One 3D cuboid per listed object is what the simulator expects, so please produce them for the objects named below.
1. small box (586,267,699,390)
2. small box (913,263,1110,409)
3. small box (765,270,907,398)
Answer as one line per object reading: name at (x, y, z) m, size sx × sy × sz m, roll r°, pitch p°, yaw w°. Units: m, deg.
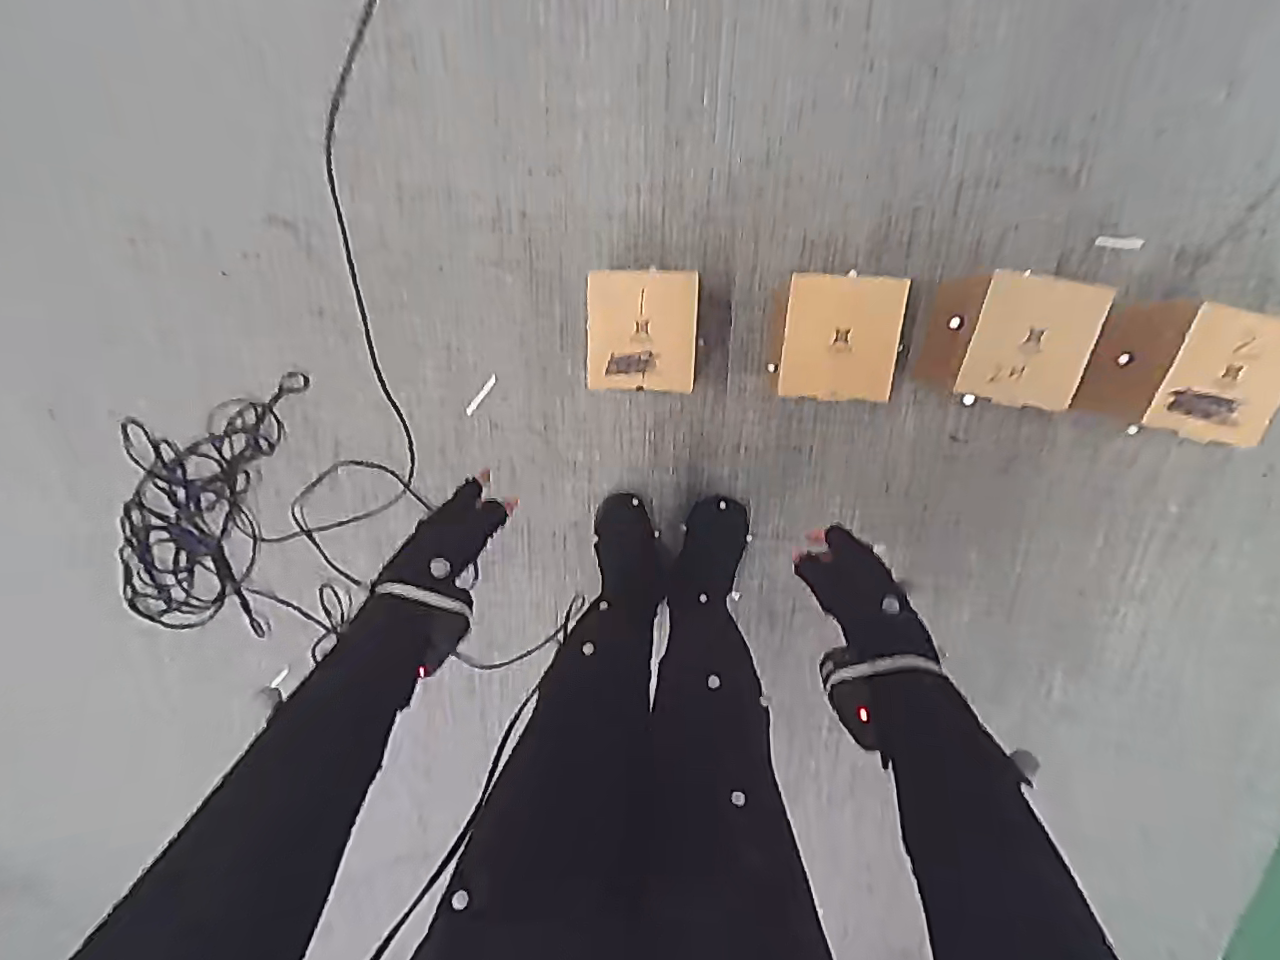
small box at (0.009, -0.247, 0.887) m, size 0.168 × 0.176 × 0.179 m, roll 3°, pitch 105°, yaw 5°
small box at (0.553, -0.222, 0.837) m, size 0.168 × 0.176 × 0.179 m, roll 12°, pitch 107°, yaw 3°
small box at (0.298, -0.232, 0.863) m, size 0.168 × 0.176 × 0.179 m, roll 4°, pitch 107°, yaw 5°
